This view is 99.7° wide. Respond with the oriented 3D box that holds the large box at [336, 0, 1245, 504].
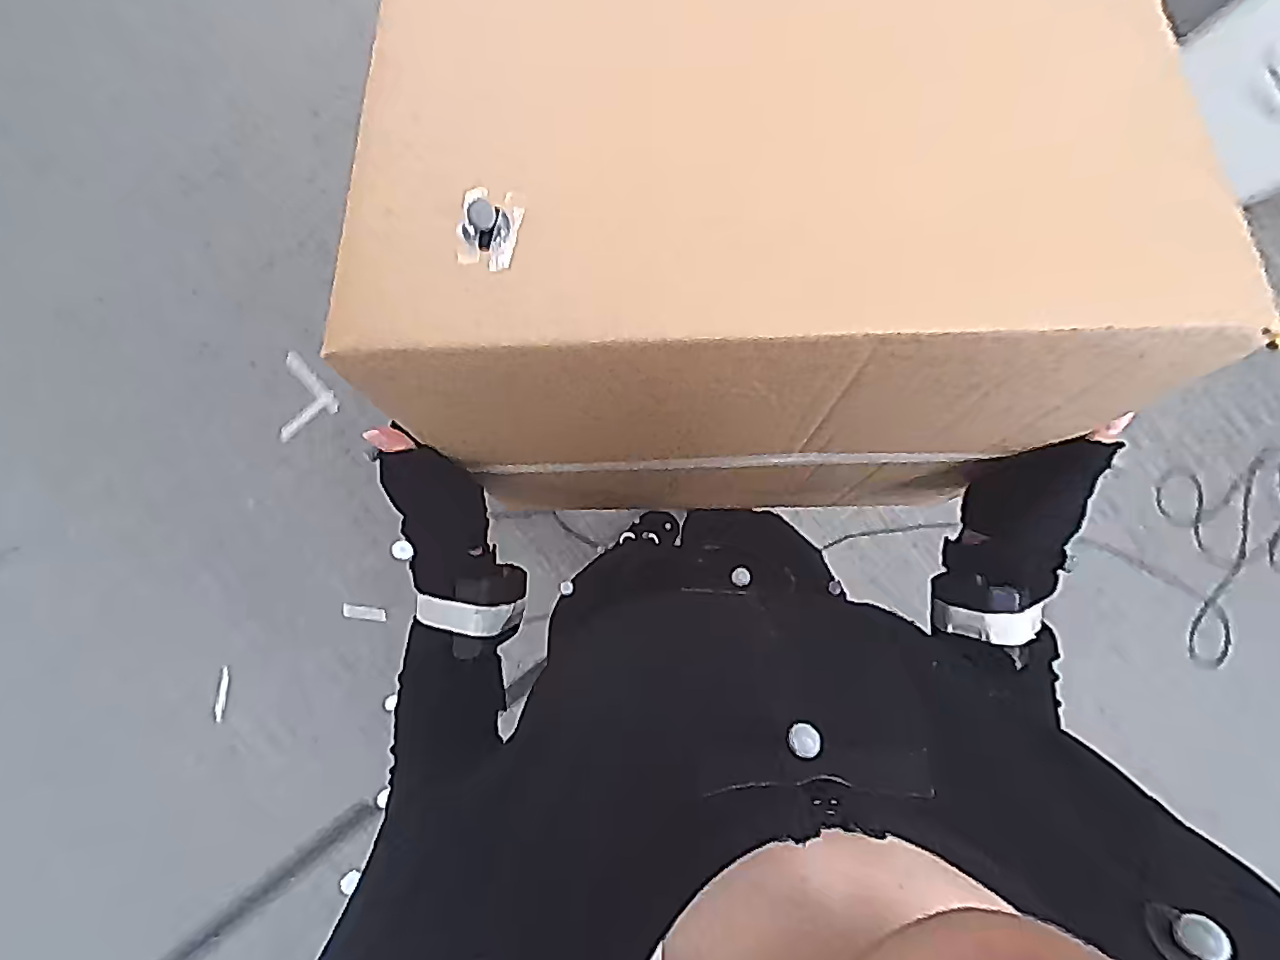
[{"bbox_3d":[0.059,-0.173,0.420,0.408,0.320,0.320,-2,75,2],"label":"large box"}]
